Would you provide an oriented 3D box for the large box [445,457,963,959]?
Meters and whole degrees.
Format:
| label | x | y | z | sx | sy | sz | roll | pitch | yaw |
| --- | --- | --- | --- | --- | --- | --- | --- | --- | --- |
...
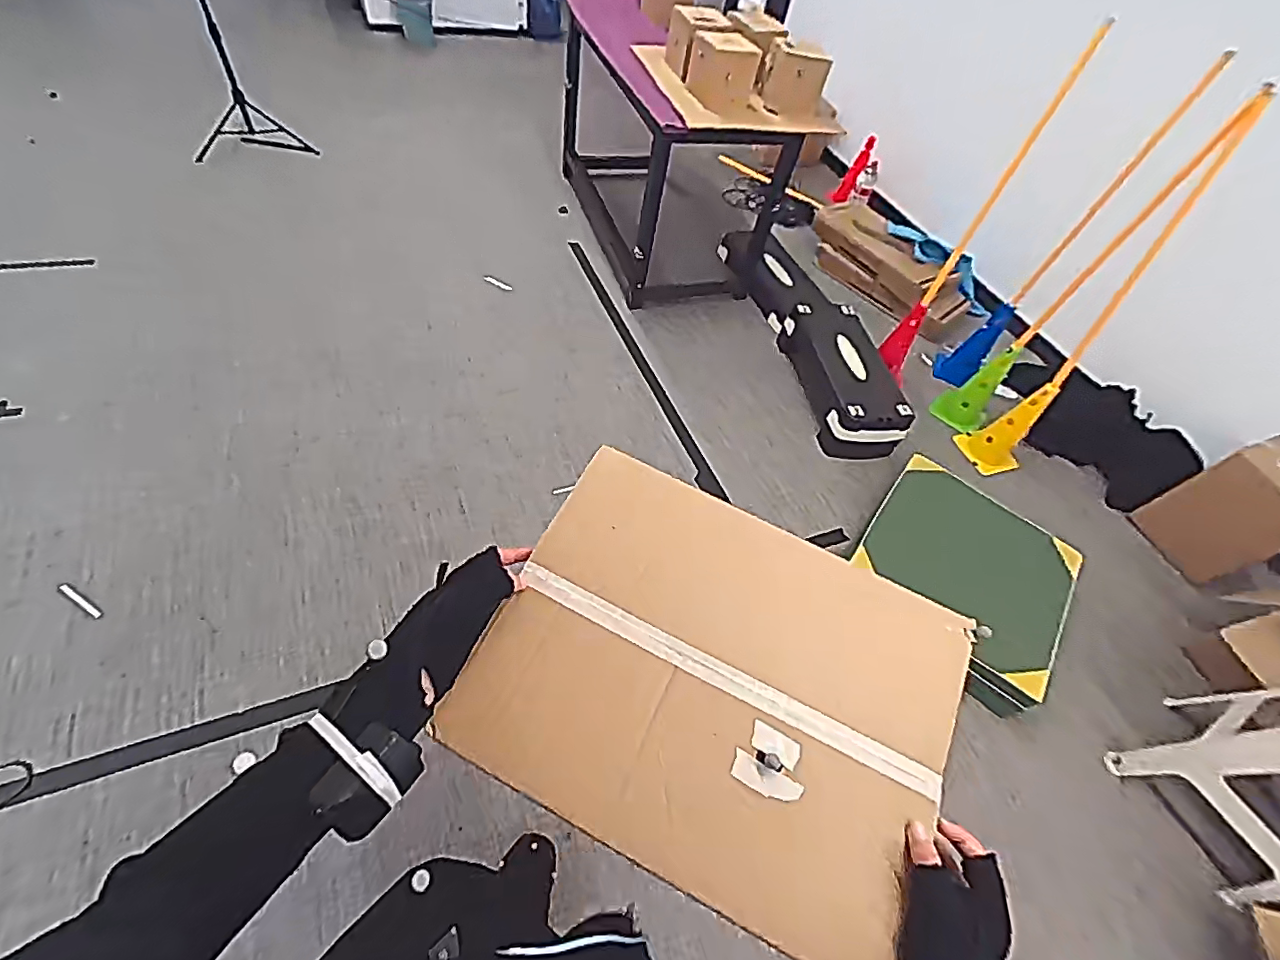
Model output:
| label | x | y | z | sx | sy | sz | roll | pitch | yaw |
| --- | --- | --- | --- | --- | --- | --- | --- | --- | --- |
| large box | 0.063 | 0.240 | 0.628 | 0.408 | 0.320 | 0.320 | 27 | 66 | 8 |
